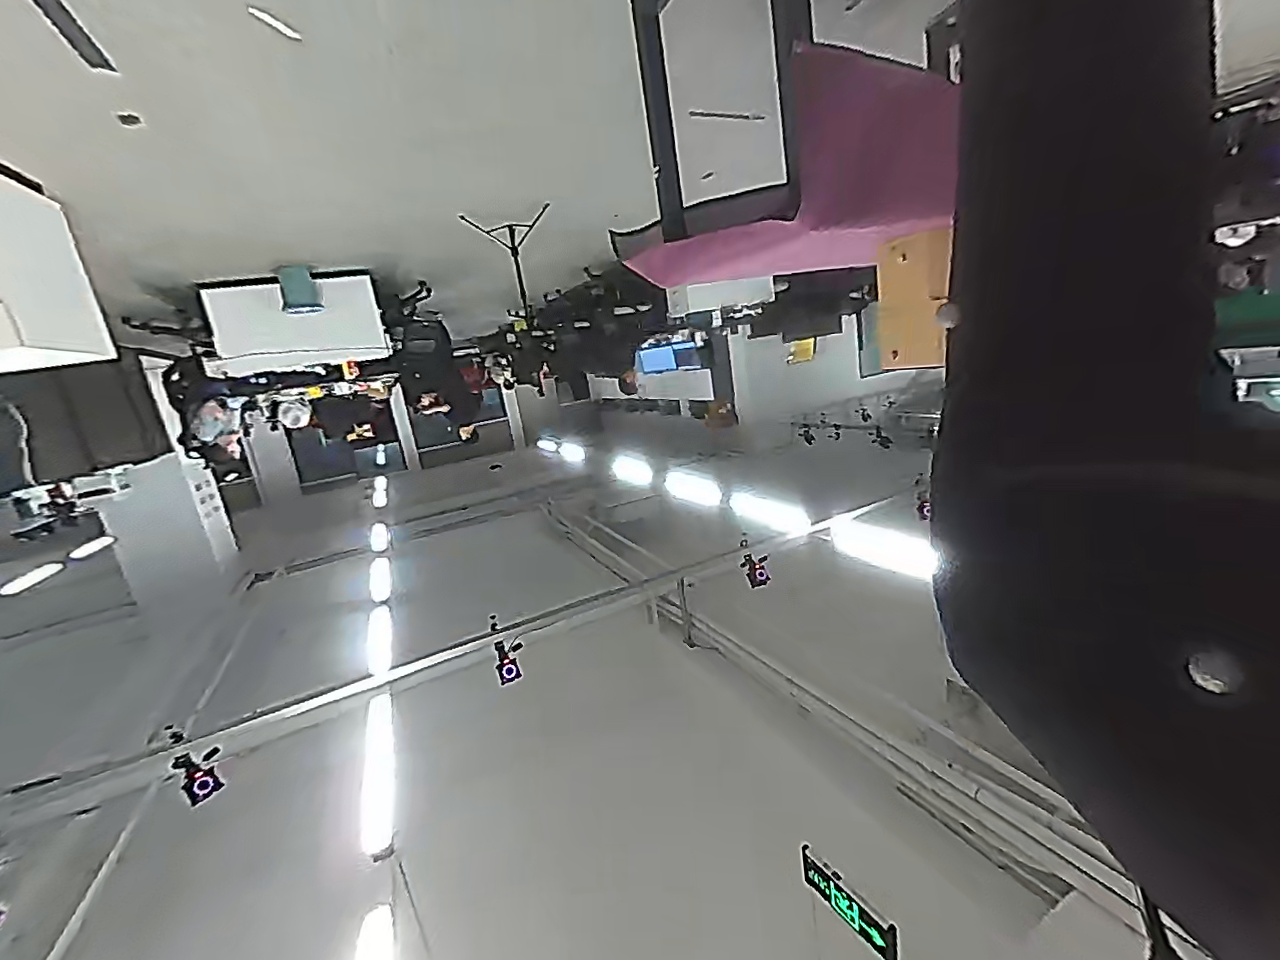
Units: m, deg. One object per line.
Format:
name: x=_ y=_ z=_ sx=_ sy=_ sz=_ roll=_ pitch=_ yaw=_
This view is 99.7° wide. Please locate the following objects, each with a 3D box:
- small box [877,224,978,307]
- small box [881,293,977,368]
small box: x=0.744 y=-0.555 z=1.402 sx=0.179 sy=0.176 sz=0.168 roll=-14 pitch=-166 yaw=-19
small box: x=0.770 y=-0.398 z=1.444 sx=0.168 sy=0.176 sz=0.179 roll=-16 pitch=-165 yaw=-24
